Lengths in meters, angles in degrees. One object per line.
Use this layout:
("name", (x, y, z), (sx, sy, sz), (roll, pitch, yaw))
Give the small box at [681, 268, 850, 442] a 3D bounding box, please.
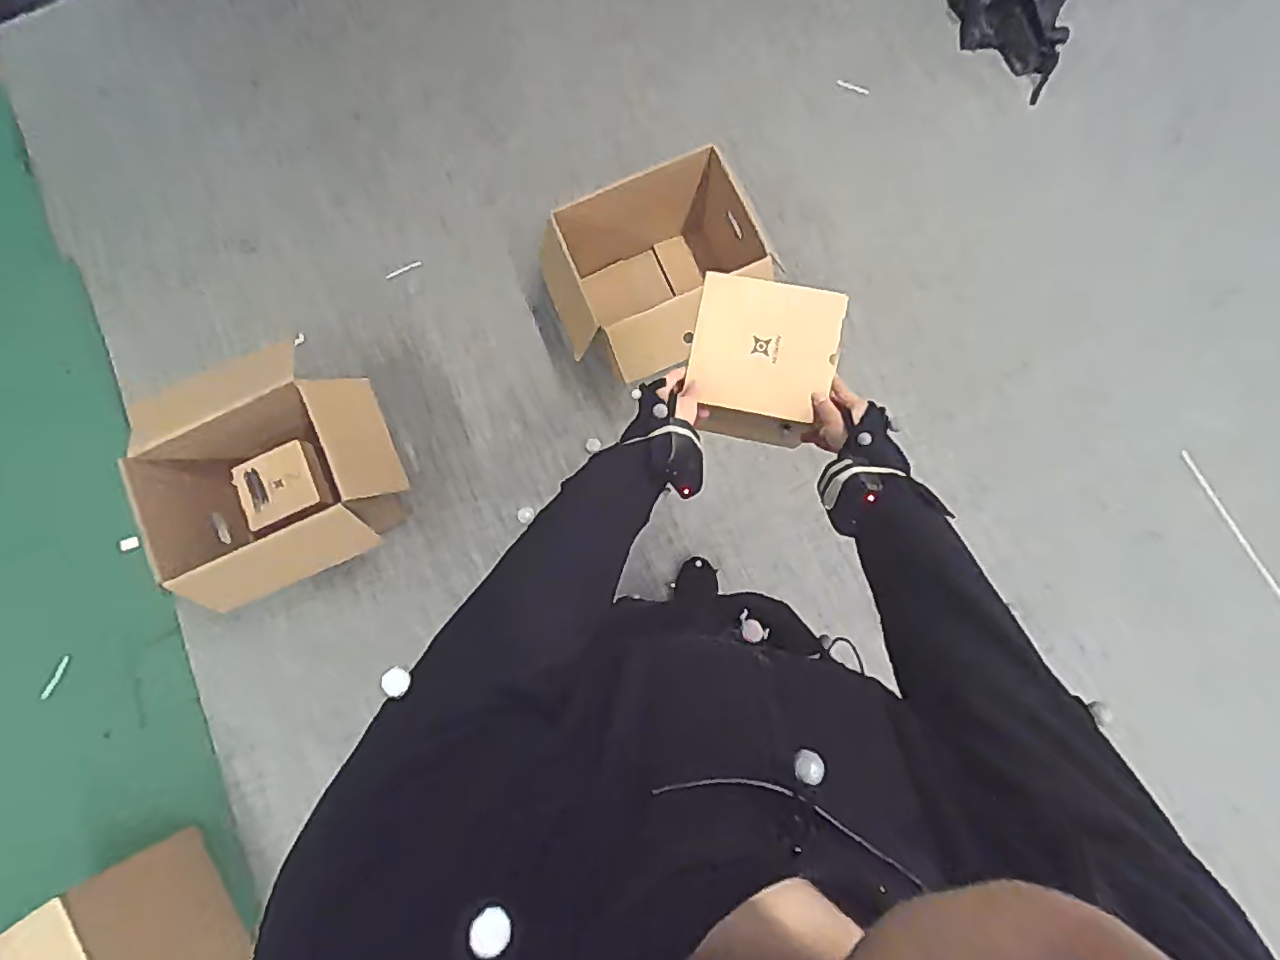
("small box", (0.154, -0.154, 0.720), (0.179, 0.176, 0.168), (11, 85, 4))
